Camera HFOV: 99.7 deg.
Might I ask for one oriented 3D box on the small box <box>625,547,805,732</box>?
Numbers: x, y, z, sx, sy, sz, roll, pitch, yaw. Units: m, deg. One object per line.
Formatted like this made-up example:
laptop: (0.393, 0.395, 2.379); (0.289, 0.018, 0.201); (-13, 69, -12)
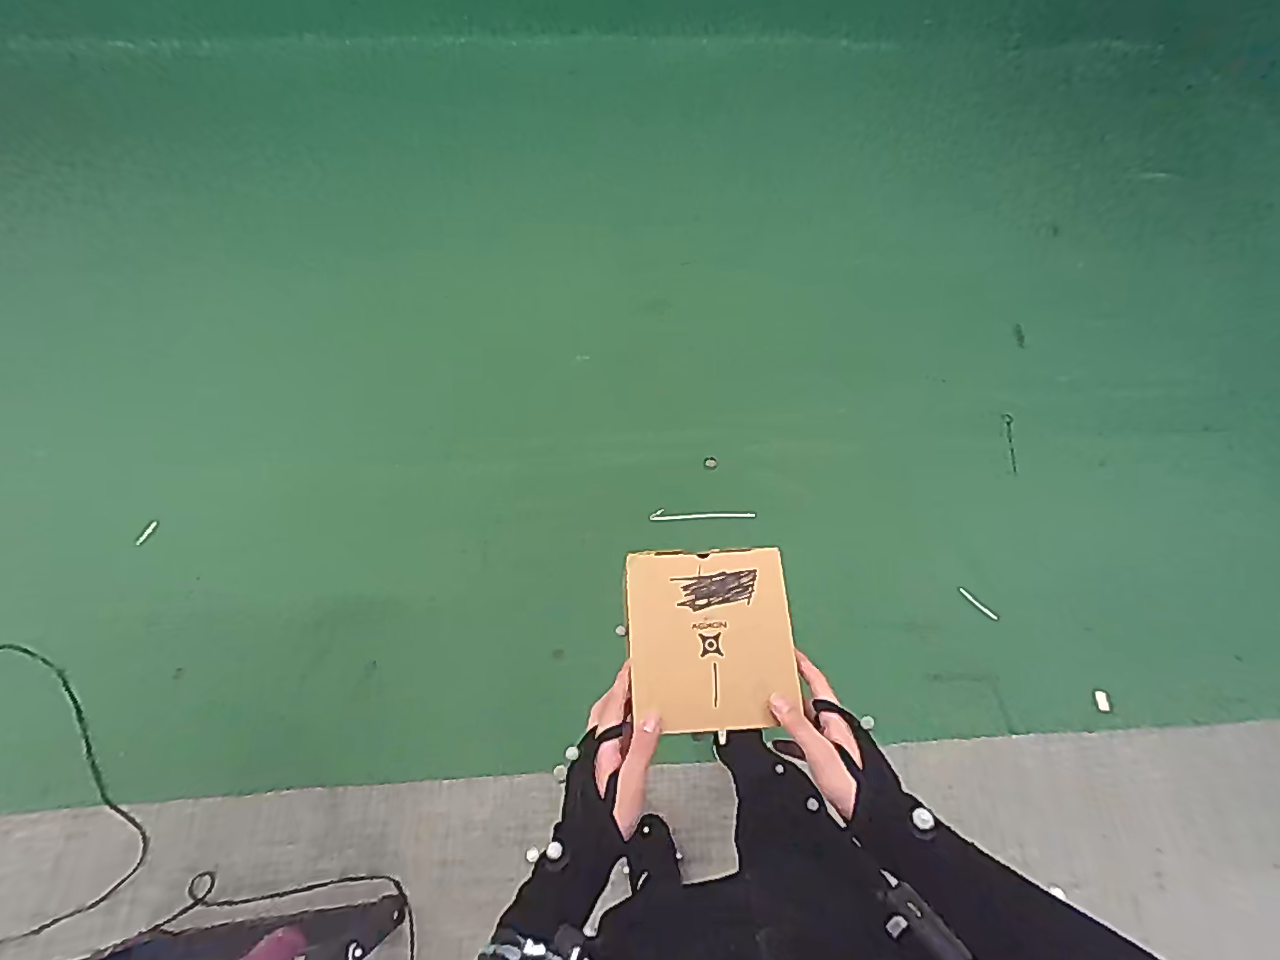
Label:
small box: (0.069, 0.183, 0.613); (0.168, 0.176, 0.179); (-2, 69, -3)
